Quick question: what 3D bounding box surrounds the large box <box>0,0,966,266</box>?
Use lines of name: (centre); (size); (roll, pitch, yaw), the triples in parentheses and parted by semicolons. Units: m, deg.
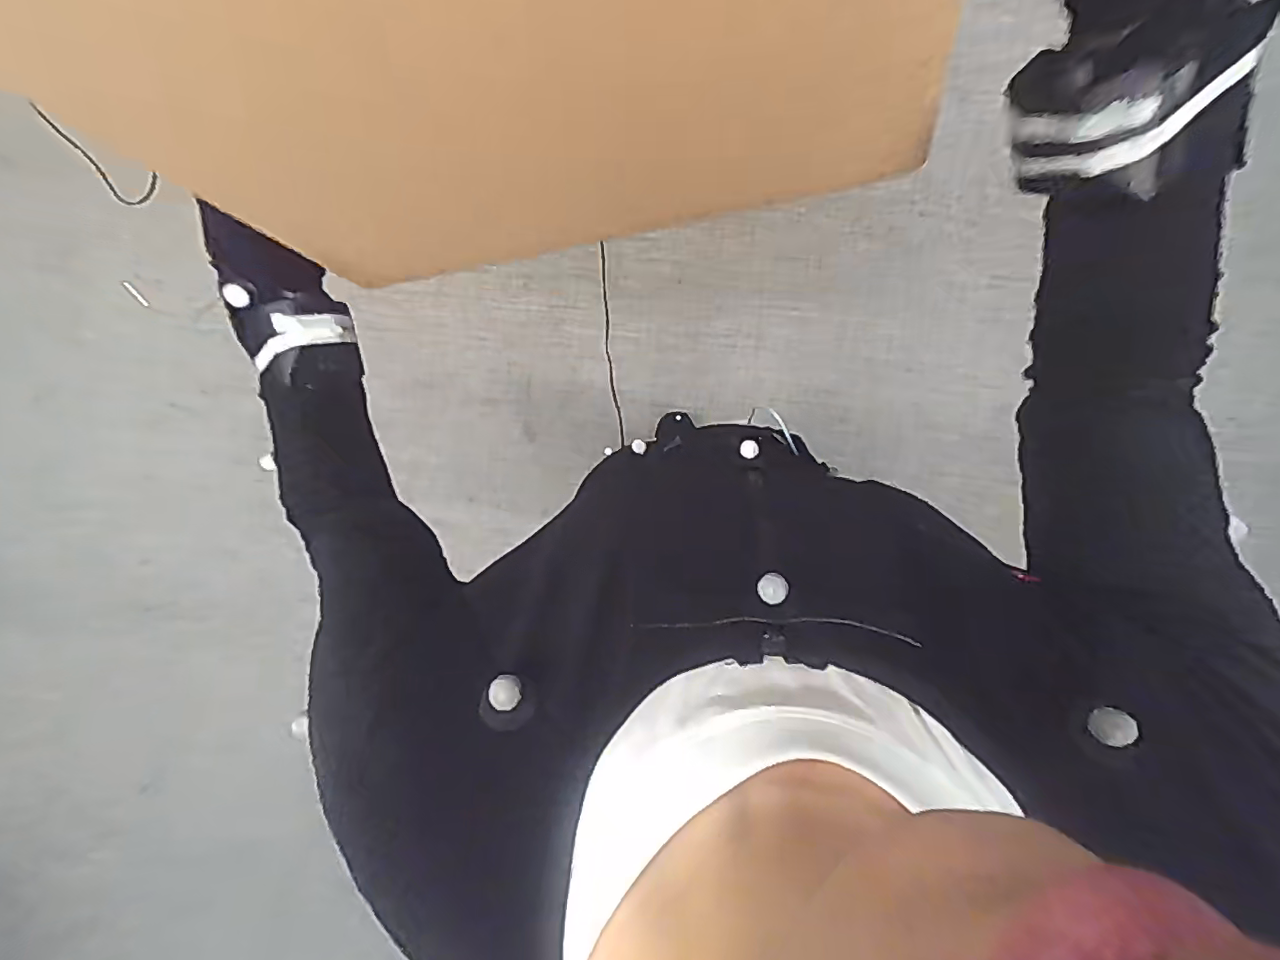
large box: (-0.074, -0.345, 0.245); (0.408, 0.320, 0.320); (-3, 81, 18)
